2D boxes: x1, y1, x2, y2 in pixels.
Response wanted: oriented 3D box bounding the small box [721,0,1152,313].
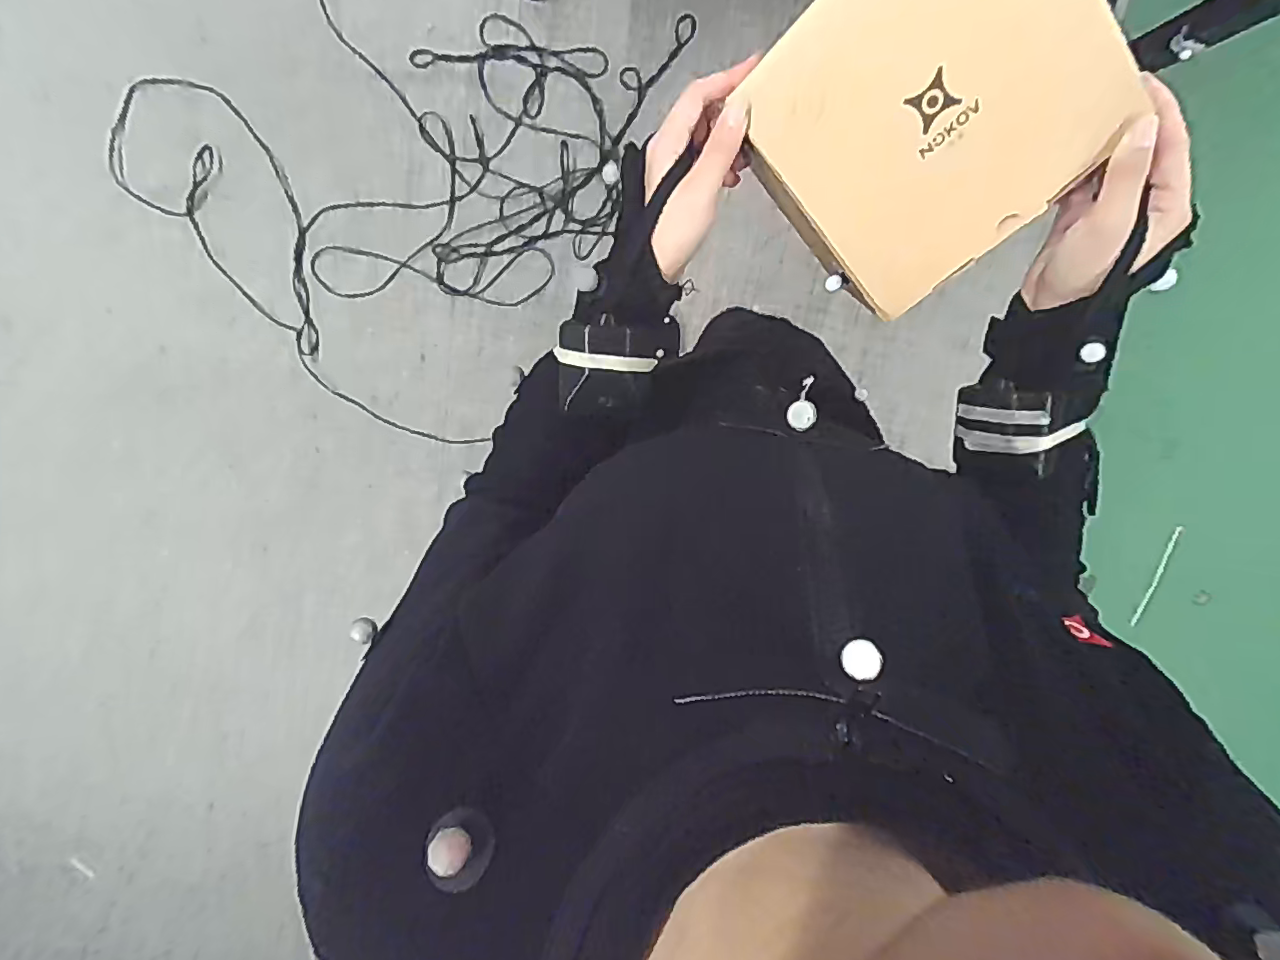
[{"bbox_3d":[0.170,-0.249,0.371,0.179,0.176,0.168,42,115,-18],"label":"small box"}]
